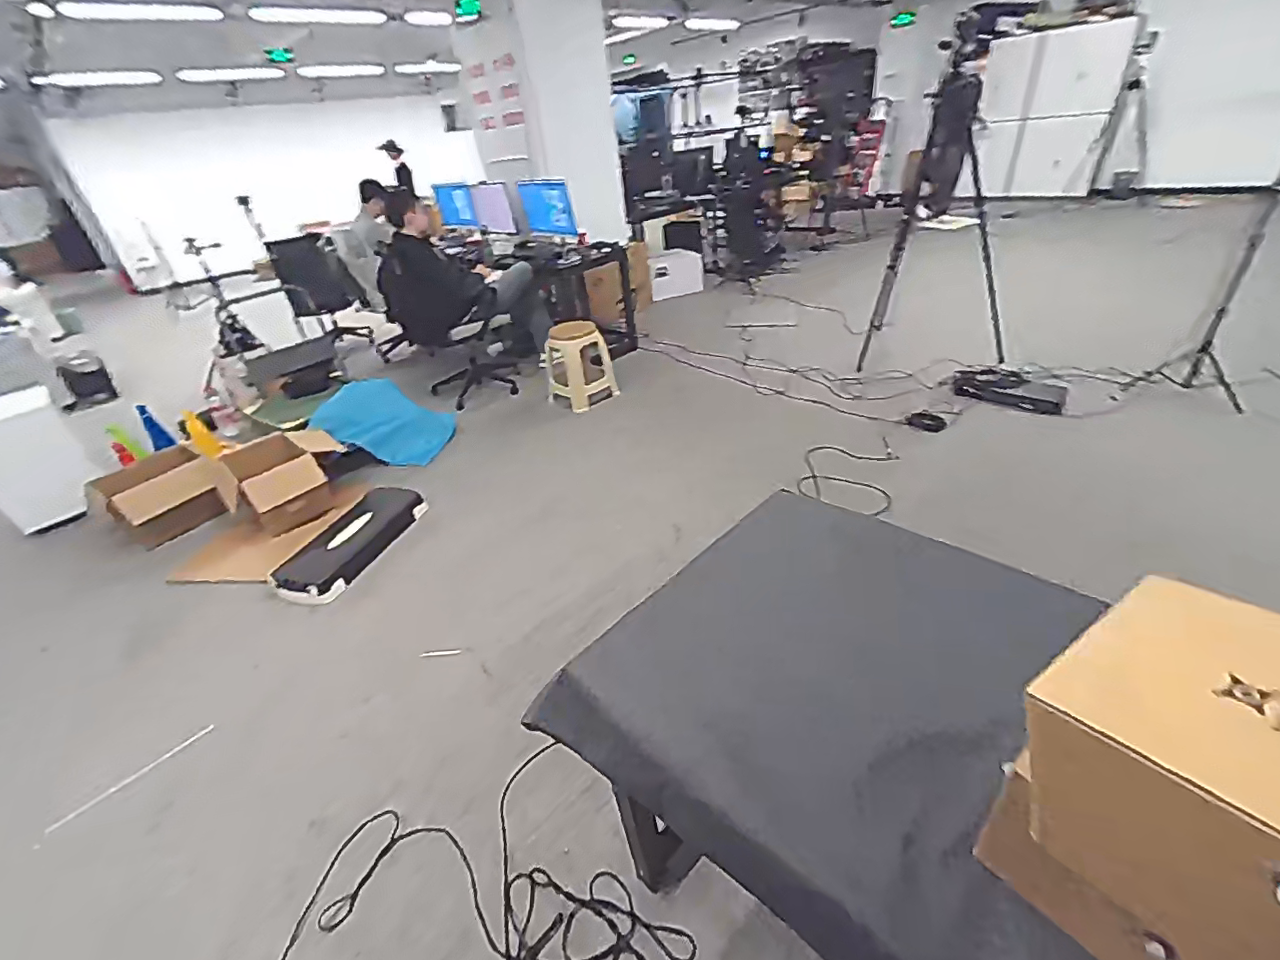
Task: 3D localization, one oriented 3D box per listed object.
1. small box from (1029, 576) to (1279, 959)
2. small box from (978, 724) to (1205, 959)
[{"bbox_3d":[0.396,0.200,0.355,0.168,0.176,0.179,-29,26,-18],"label":"small box"},{"bbox_3d":[0.460,0.328,0.508,0.168,0.176,0.179,-26,36,-28],"label":"small box"}]
